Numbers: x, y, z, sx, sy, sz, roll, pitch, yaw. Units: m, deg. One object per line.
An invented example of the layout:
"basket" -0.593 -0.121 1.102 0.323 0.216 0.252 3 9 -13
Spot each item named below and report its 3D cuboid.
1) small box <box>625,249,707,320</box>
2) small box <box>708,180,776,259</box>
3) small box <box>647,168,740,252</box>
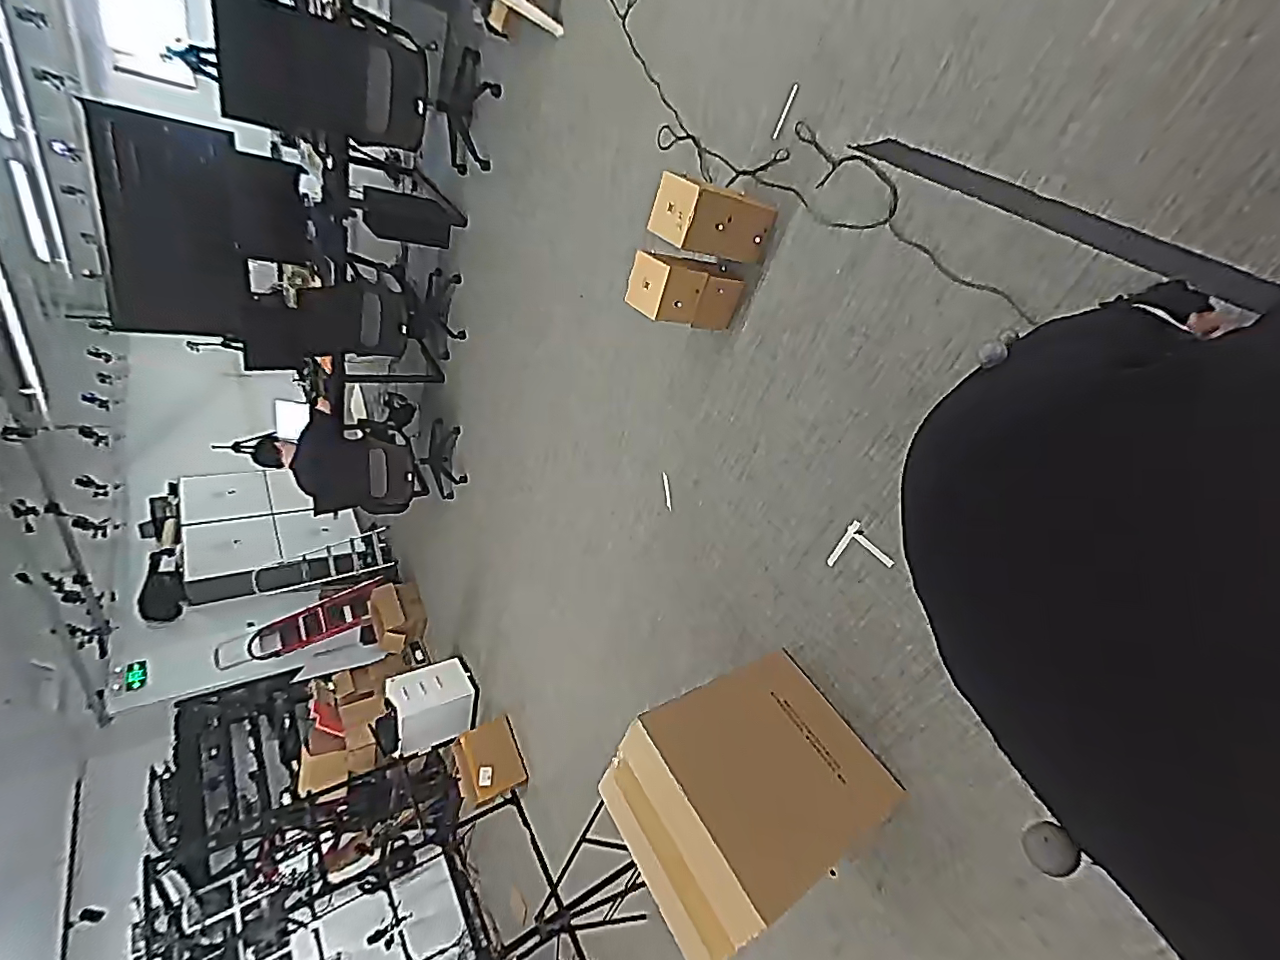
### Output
"small box" 0.084 -0.613 1.704 0.179 0.176 0.168 46 131 39
"small box" 0.284 -0.801 1.675 0.179 0.176 0.168 49 132 34
"small box" 0.155 -0.781 1.574 0.179 0.176 0.168 48 132 35
